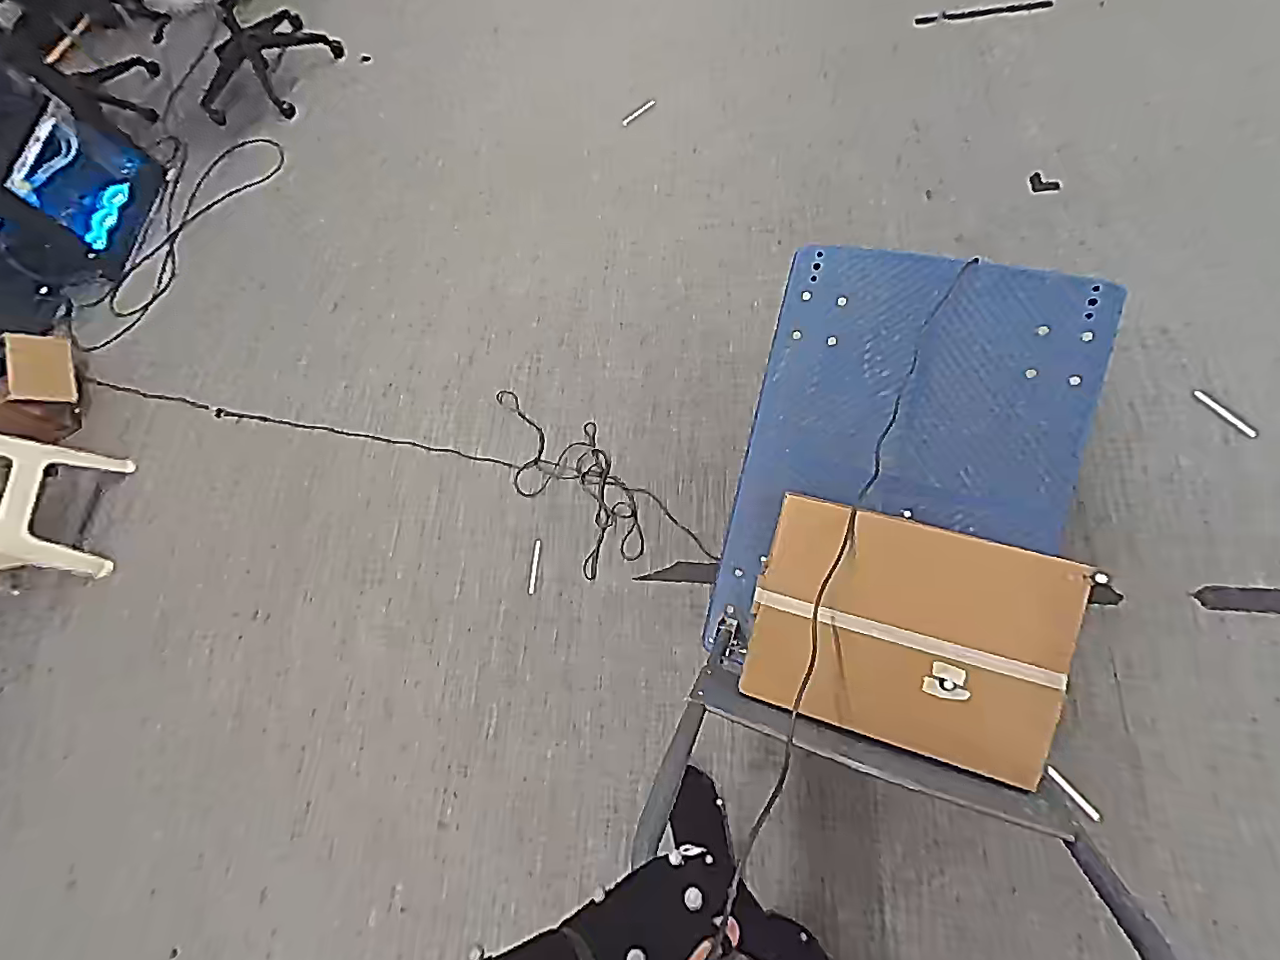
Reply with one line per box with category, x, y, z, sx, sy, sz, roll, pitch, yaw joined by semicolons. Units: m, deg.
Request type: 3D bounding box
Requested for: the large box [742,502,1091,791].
large box;0.406;0.227;0.903;0.408;0.320;0.320;14;94;14
